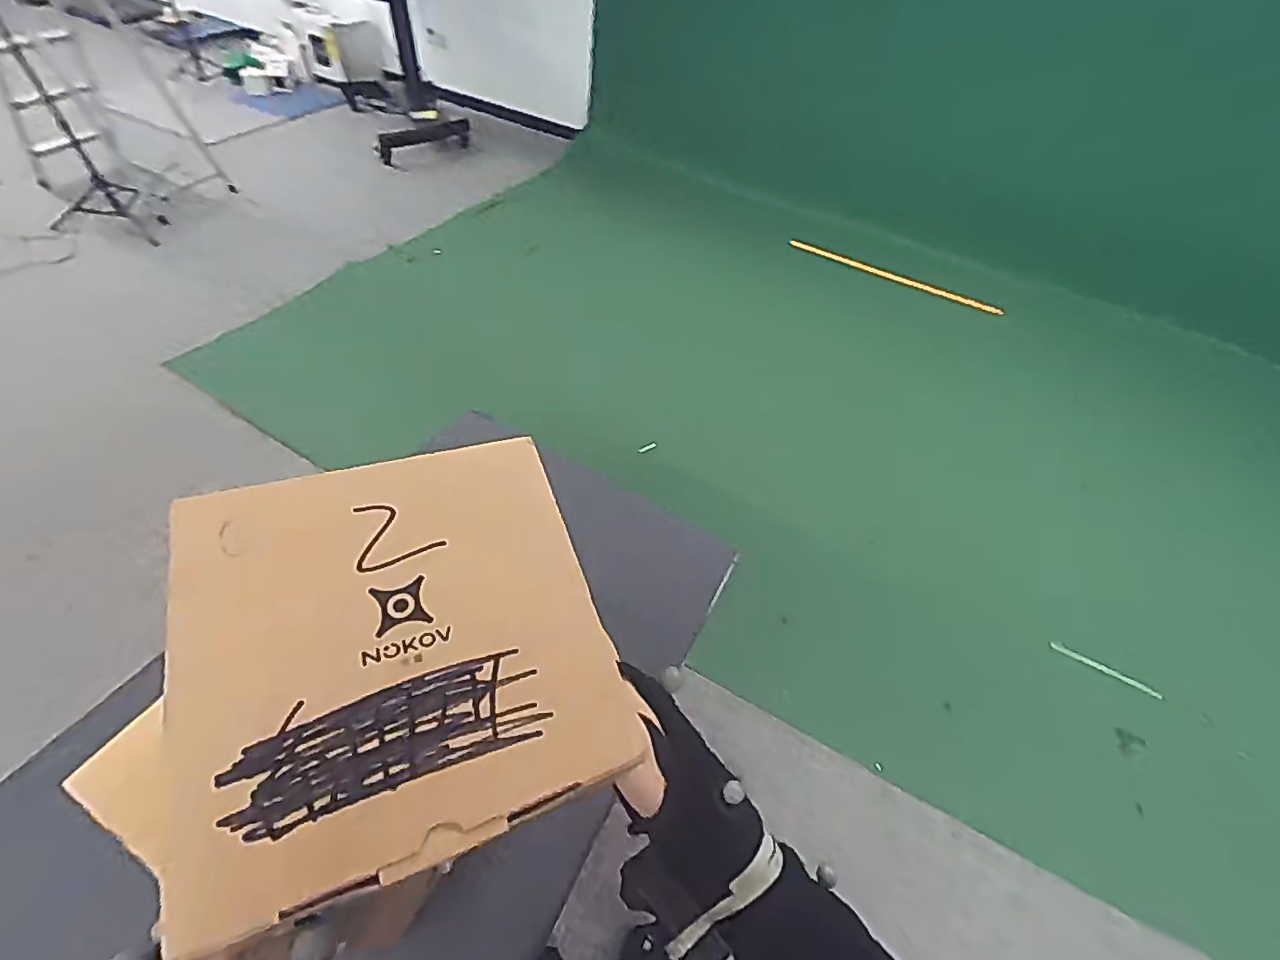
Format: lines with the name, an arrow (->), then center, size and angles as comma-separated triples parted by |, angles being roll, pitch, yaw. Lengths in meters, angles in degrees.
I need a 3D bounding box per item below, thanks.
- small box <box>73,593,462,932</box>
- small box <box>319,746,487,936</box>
small box -> -0.276, 0.233, 0.448 | 0.179, 0.176, 0.168 | 27, 52, 14
small box -> -0.287, 0.338, 0.571 | 0.179, 0.176, 0.168 | 27, 53, 14
